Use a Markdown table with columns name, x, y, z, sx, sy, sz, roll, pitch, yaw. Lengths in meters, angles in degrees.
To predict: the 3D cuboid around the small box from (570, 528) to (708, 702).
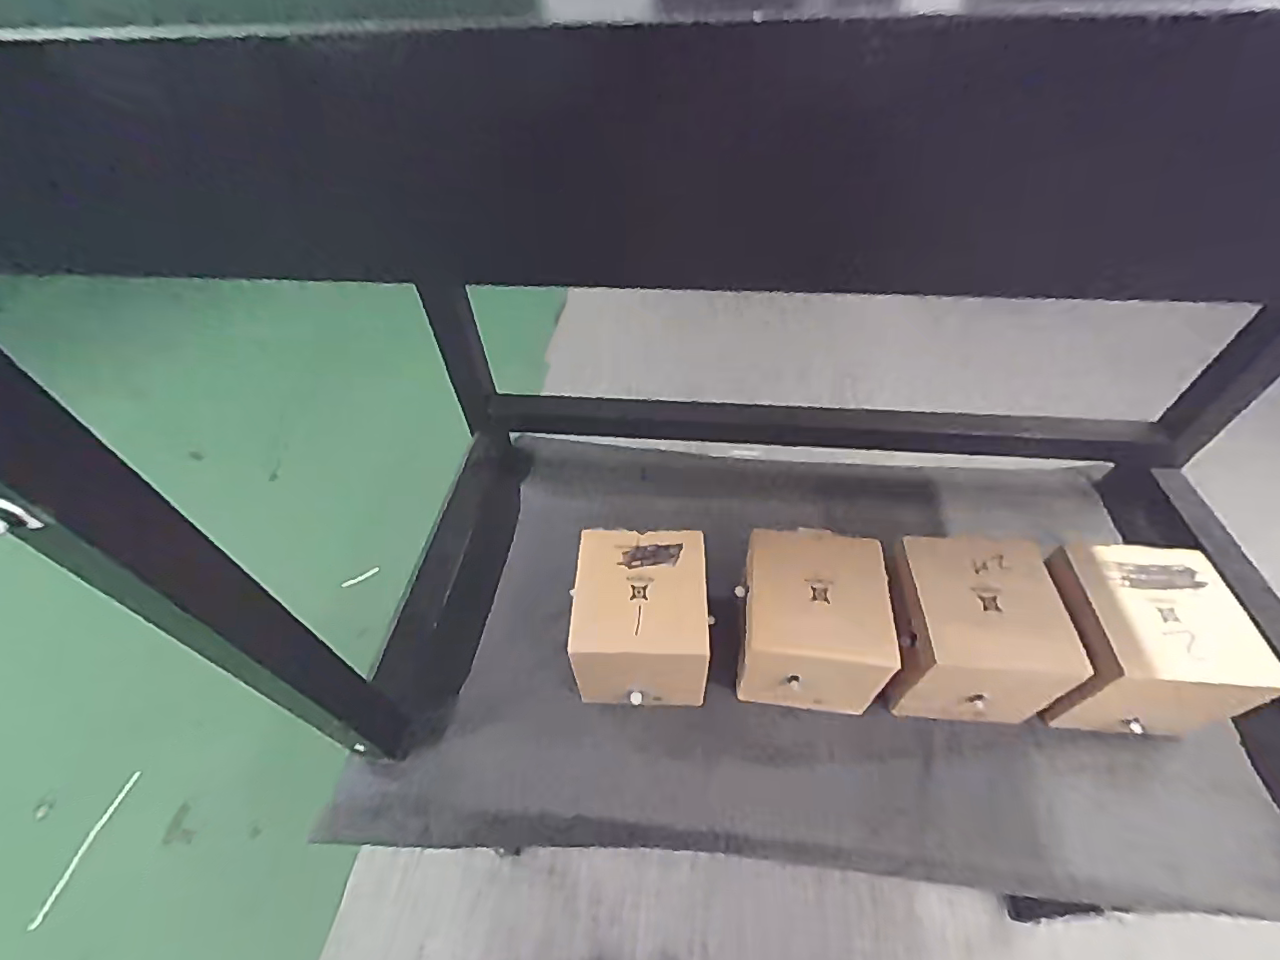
| name | x | y | z | sx | sy | sz | roll | pitch | yaw |
| --- | --- | --- | --- | --- | --- | --- | --- | --- | --- |
| small box | 0.003 | 0.185 | 0.742 | 0.168 | 0.176 | 0.179 | 0 | 49 | 2 |
